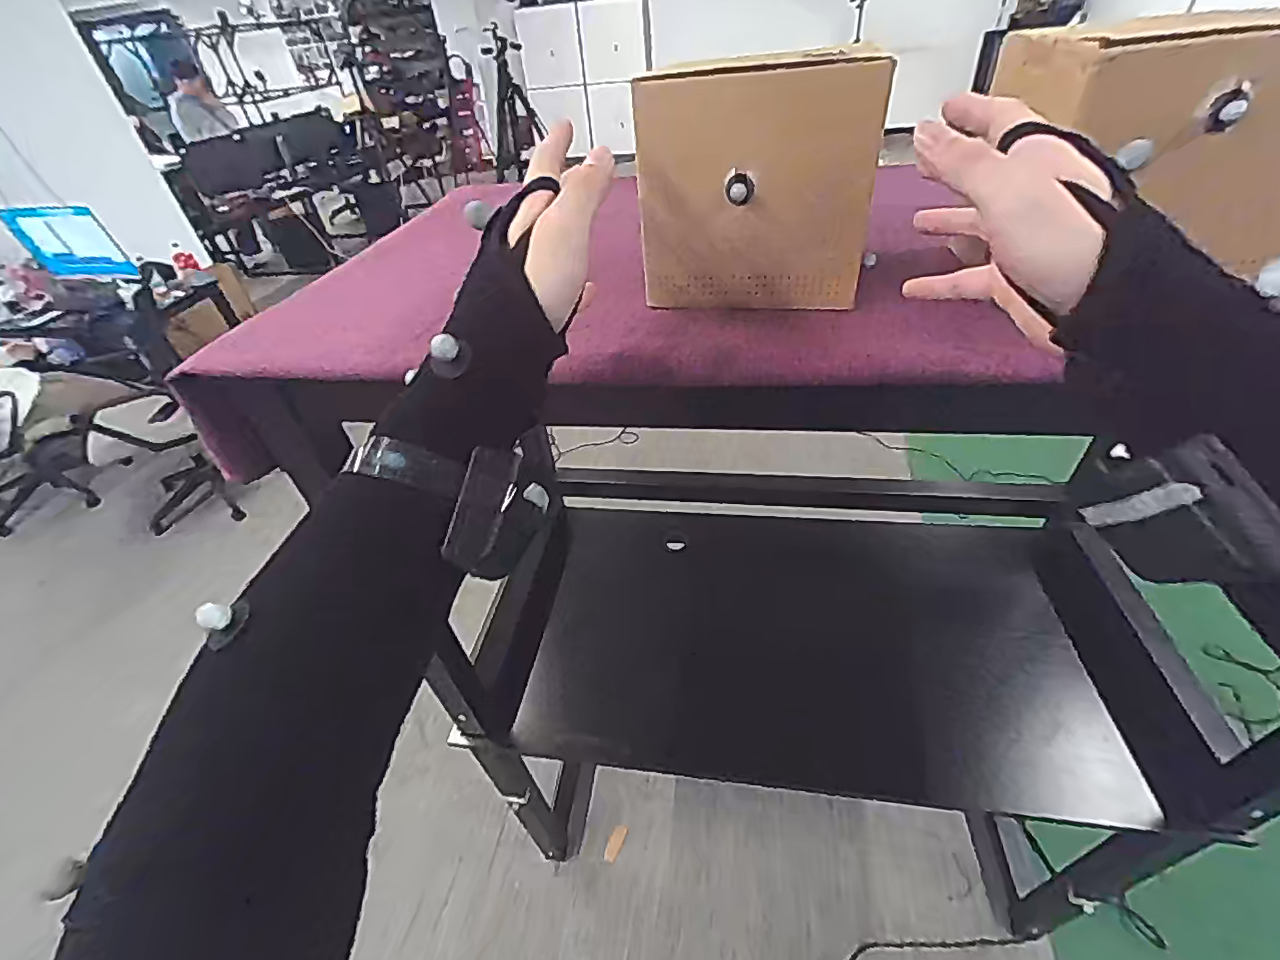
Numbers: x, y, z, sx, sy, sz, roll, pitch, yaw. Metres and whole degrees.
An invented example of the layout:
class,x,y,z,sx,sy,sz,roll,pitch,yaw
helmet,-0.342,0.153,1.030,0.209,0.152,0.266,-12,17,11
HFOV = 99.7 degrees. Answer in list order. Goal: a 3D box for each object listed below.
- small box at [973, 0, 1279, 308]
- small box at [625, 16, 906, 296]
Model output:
class,x,y,z,sx,sy,sz,roll,pitch,yaw
small box,0.368,-0.234,0.389,0.179,0.176,0.168,4,41,11
small box,0.099,-0.262,0.445,0.179,0.176,0.168,6,41,14
